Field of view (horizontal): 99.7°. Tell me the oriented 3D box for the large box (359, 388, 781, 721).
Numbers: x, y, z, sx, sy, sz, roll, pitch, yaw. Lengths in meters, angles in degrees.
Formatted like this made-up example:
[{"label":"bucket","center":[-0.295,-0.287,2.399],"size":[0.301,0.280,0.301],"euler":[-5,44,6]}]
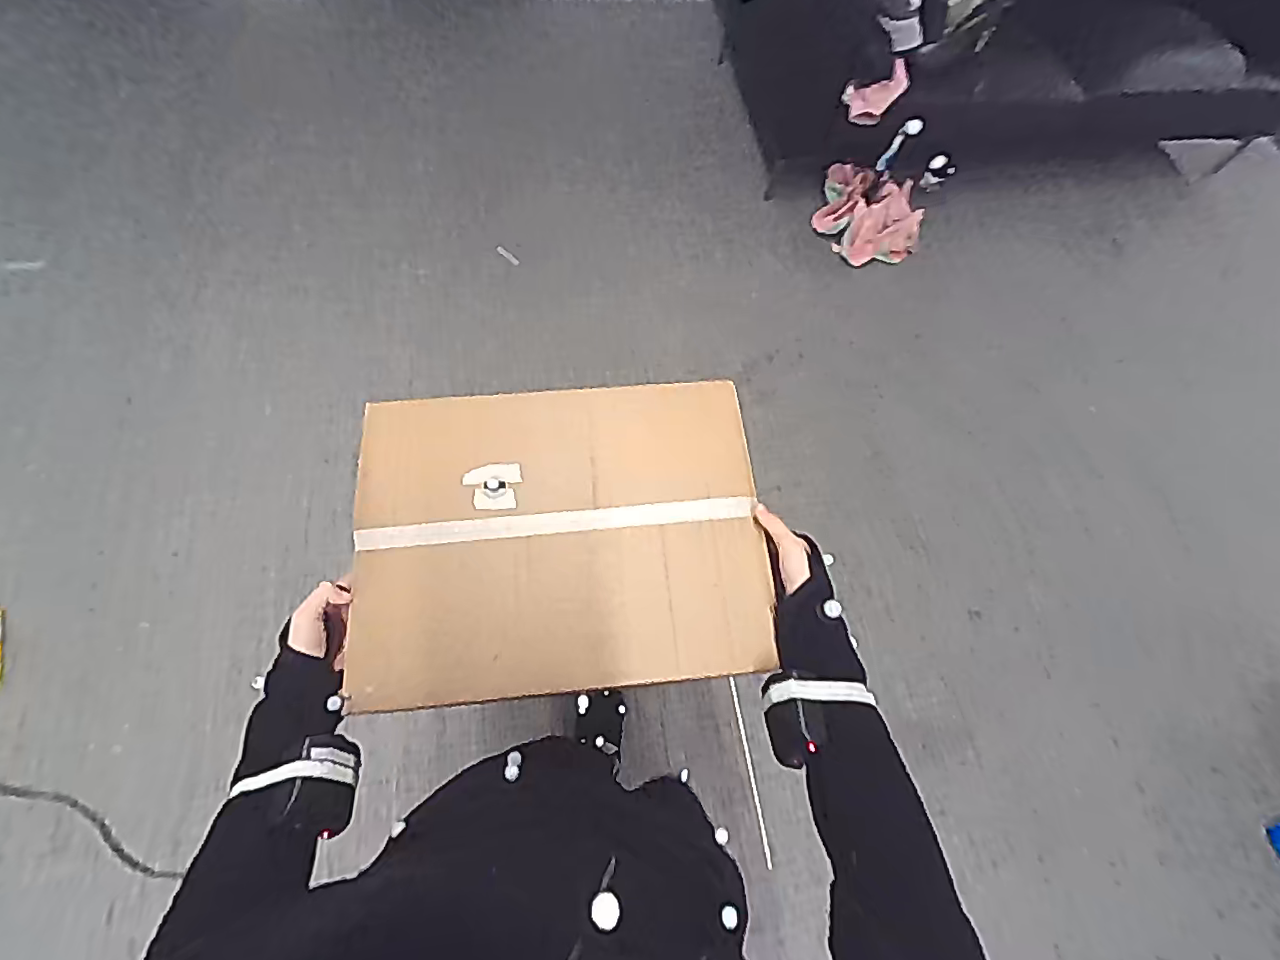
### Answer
[{"label":"large box","center":[-0.081,0.110,0.696],"size":[0.408,0.320,0.320],"euler":[-6,68,-4]}]
